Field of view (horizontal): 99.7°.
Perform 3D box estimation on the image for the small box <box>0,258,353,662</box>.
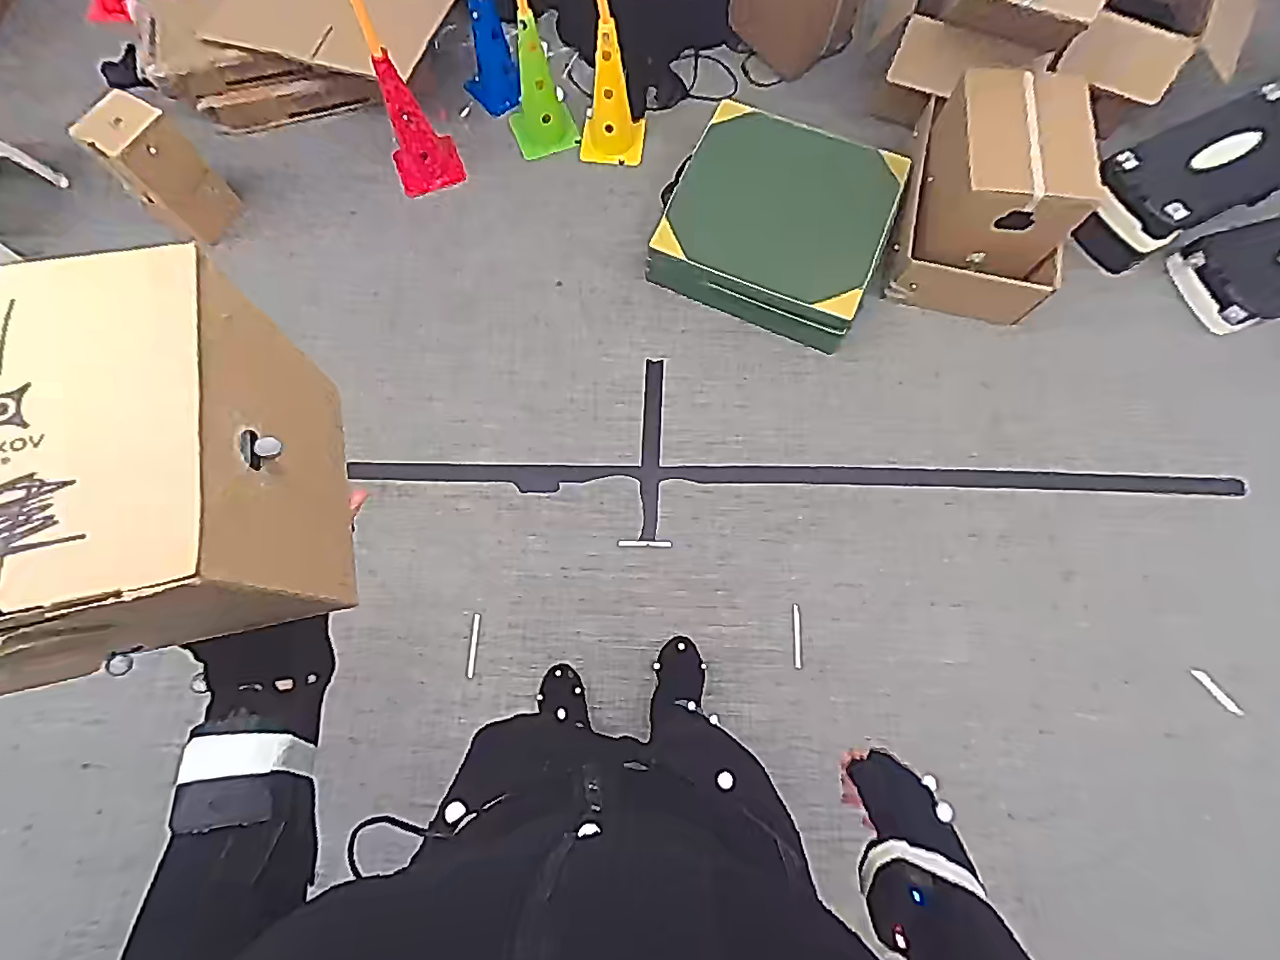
[{"bbox_3d":[-0.291,0.005,0.322,0.168,0.176,0.179,-11,74,-8],"label":"small box"}]
